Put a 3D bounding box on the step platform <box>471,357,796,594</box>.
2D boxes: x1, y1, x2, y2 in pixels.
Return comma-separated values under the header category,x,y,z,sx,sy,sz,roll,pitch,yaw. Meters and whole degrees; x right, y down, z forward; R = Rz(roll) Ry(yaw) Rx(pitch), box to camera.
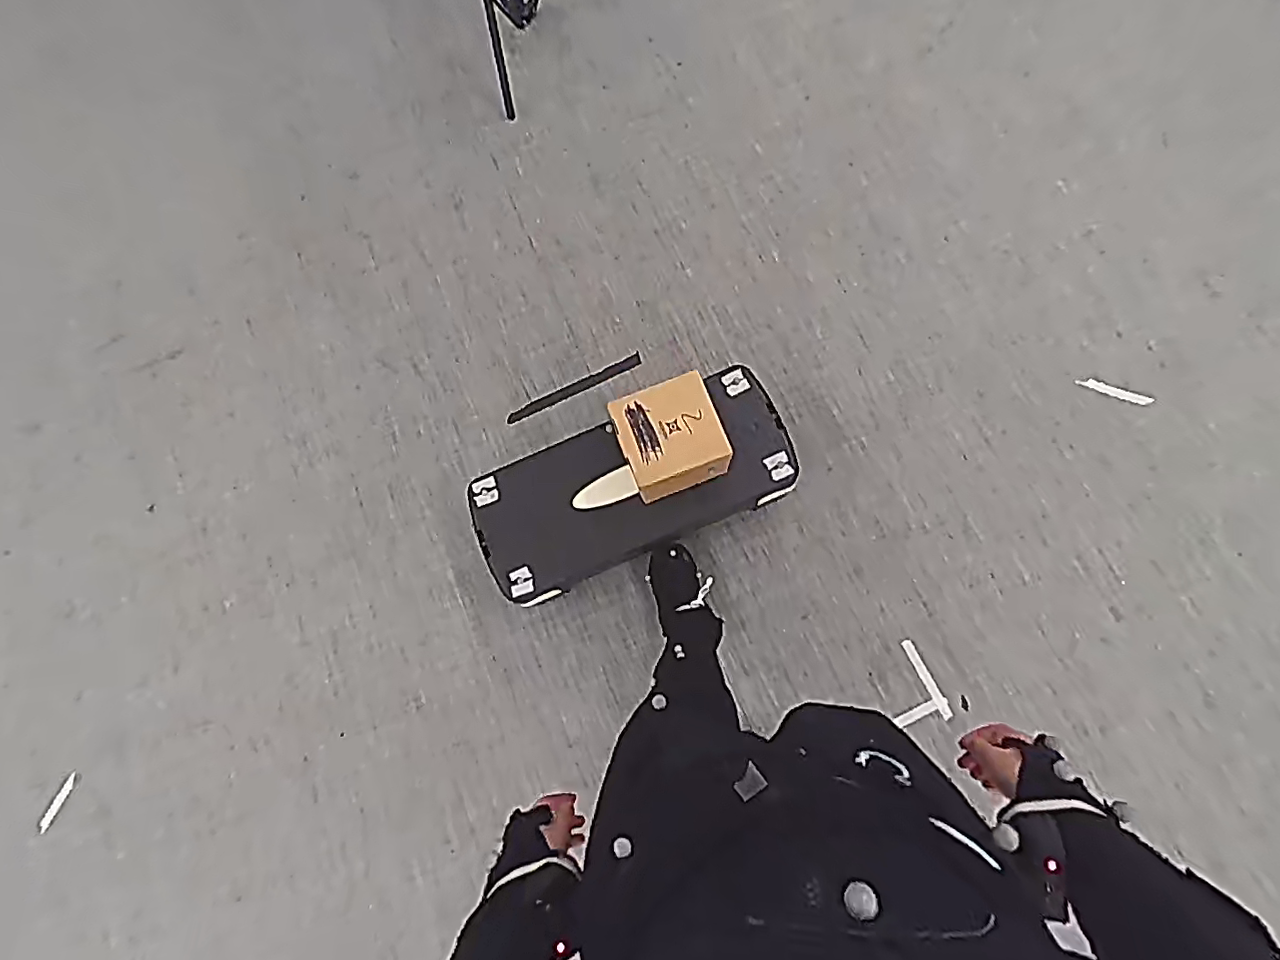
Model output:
category,x,y,z,sx,sy,sz,roll,pitch,yaw
step platform,-0.013,-0.005,1.190,0.684,0.204,0.286,-24,77,0
